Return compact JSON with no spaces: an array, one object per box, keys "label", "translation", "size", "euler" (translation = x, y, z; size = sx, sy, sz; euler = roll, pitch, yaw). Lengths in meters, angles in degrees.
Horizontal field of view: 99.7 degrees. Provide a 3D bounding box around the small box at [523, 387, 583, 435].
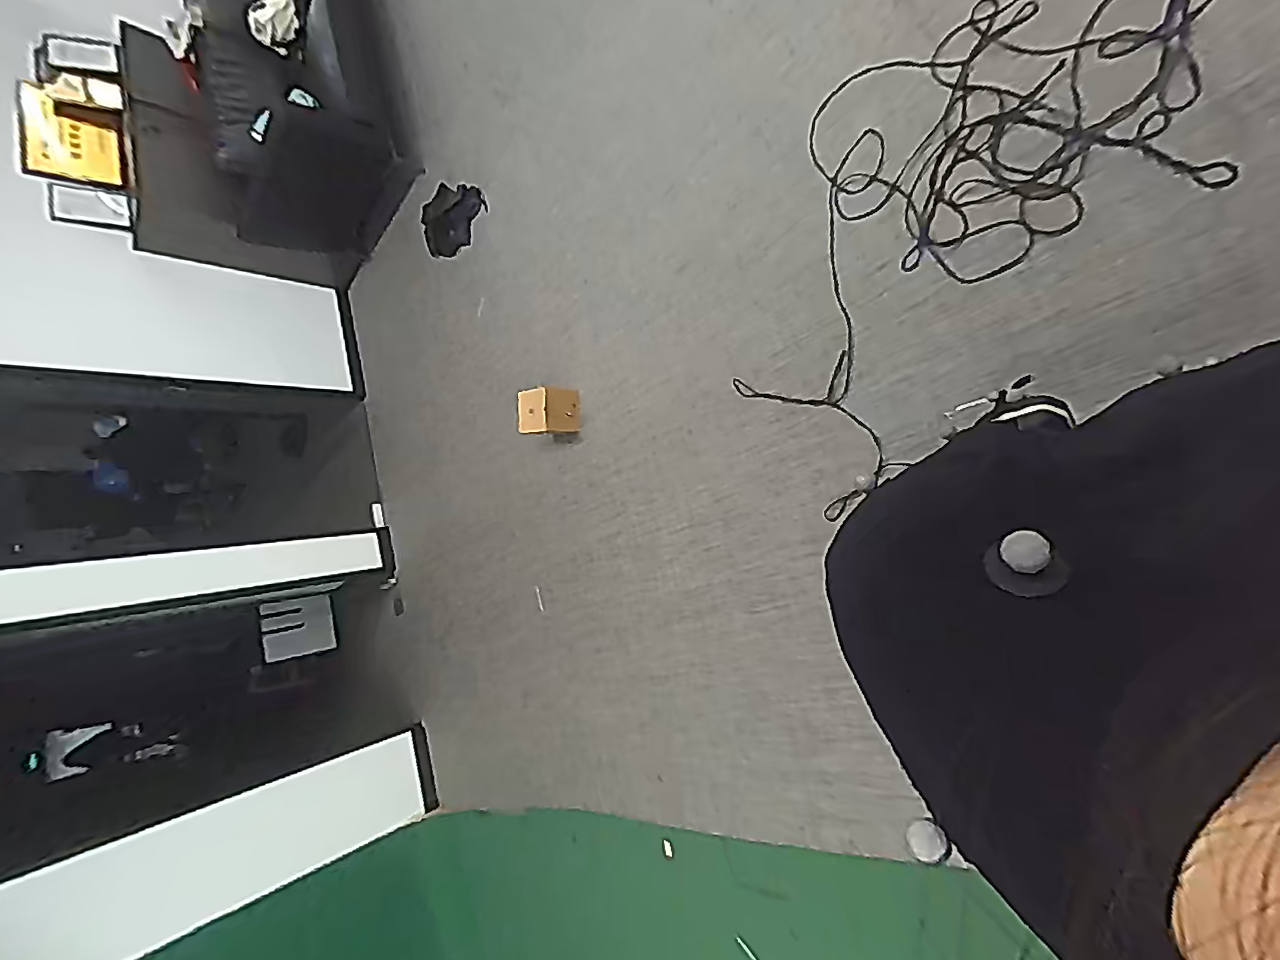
[{"label":"small box","translation":[-0.341,-0.267,2.128],"size":[0.179,0.176,0.168],"euler":[0,91,43]}]
